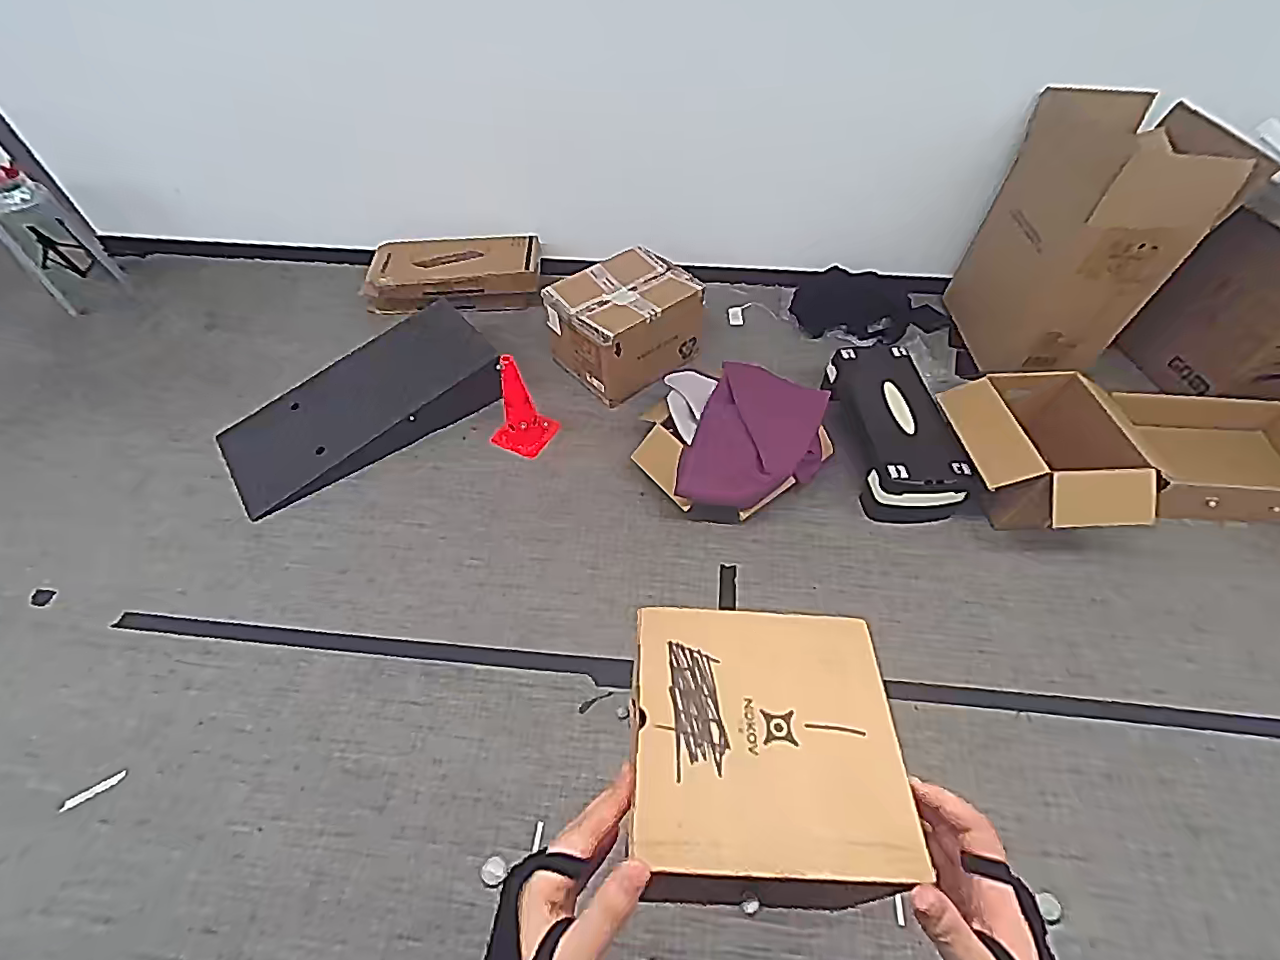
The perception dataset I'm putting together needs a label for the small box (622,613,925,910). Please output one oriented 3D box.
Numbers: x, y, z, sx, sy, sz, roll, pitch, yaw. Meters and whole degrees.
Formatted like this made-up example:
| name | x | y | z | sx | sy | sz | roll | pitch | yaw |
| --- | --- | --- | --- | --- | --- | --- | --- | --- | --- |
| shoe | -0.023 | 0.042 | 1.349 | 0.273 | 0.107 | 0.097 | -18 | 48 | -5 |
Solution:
| name | x | y | z | sx | sy | sz | roll | pitch | yaw |
| --- | --- | --- | --- | --- | --- | --- | --- | --- | --- |
| small box | 0.076 | 0.220 | 0.418 | 0.179 | 0.176 | 0.168 | 3 | 48 | -1 |
